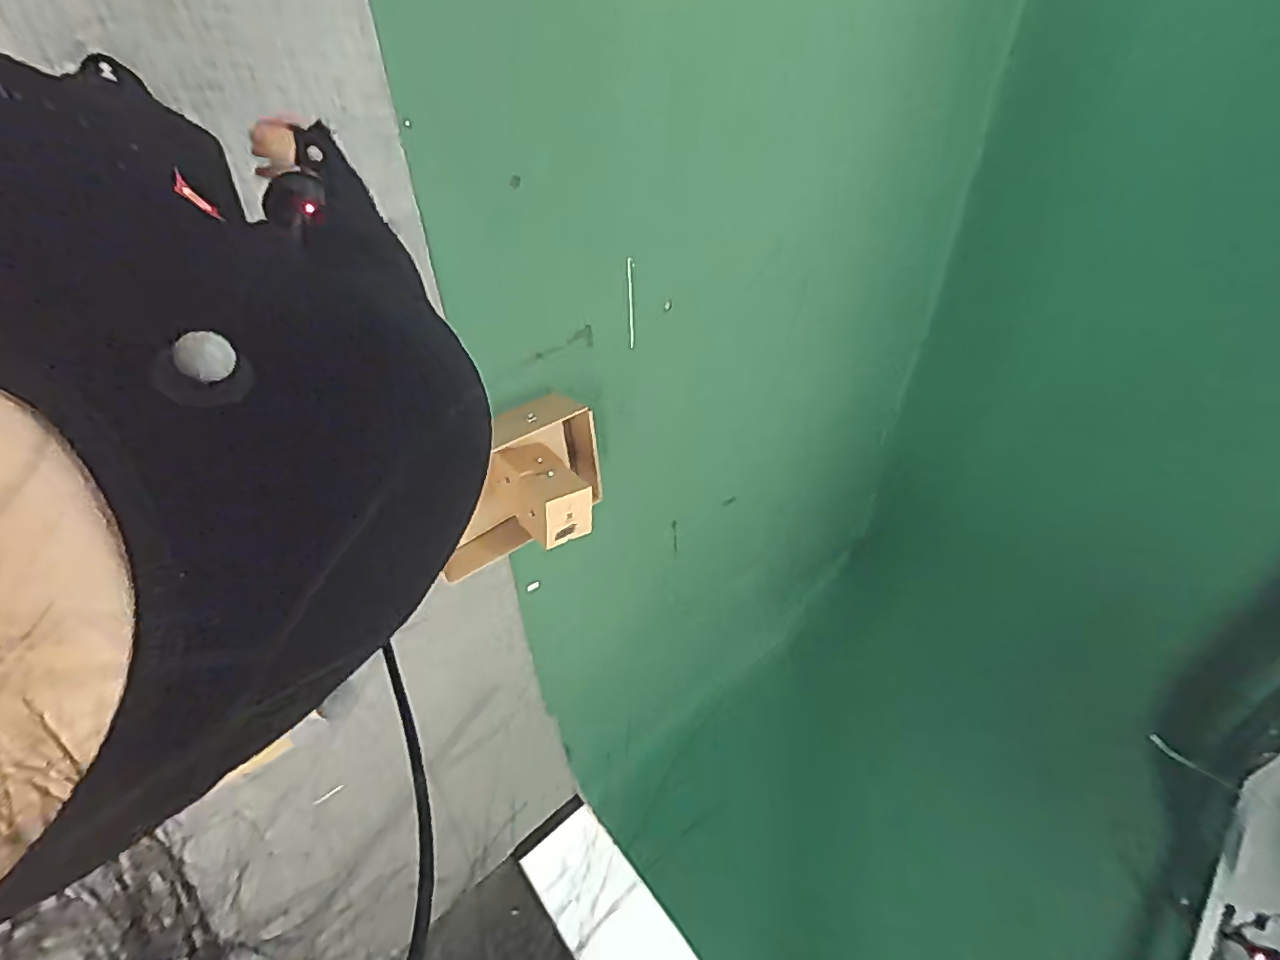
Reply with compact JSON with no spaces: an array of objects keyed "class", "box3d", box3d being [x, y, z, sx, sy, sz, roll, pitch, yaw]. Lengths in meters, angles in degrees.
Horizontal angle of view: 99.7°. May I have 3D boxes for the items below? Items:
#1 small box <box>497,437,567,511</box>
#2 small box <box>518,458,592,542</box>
[{"class":"small box","box3d":[-0.363,-0.026,1.785,0.179,0.176,0.168,-17,129,-36]},{"class":"small box","box3d":[-0.265,0.057,1.681,0.168,0.176,0.179,-20,130,-34]}]
